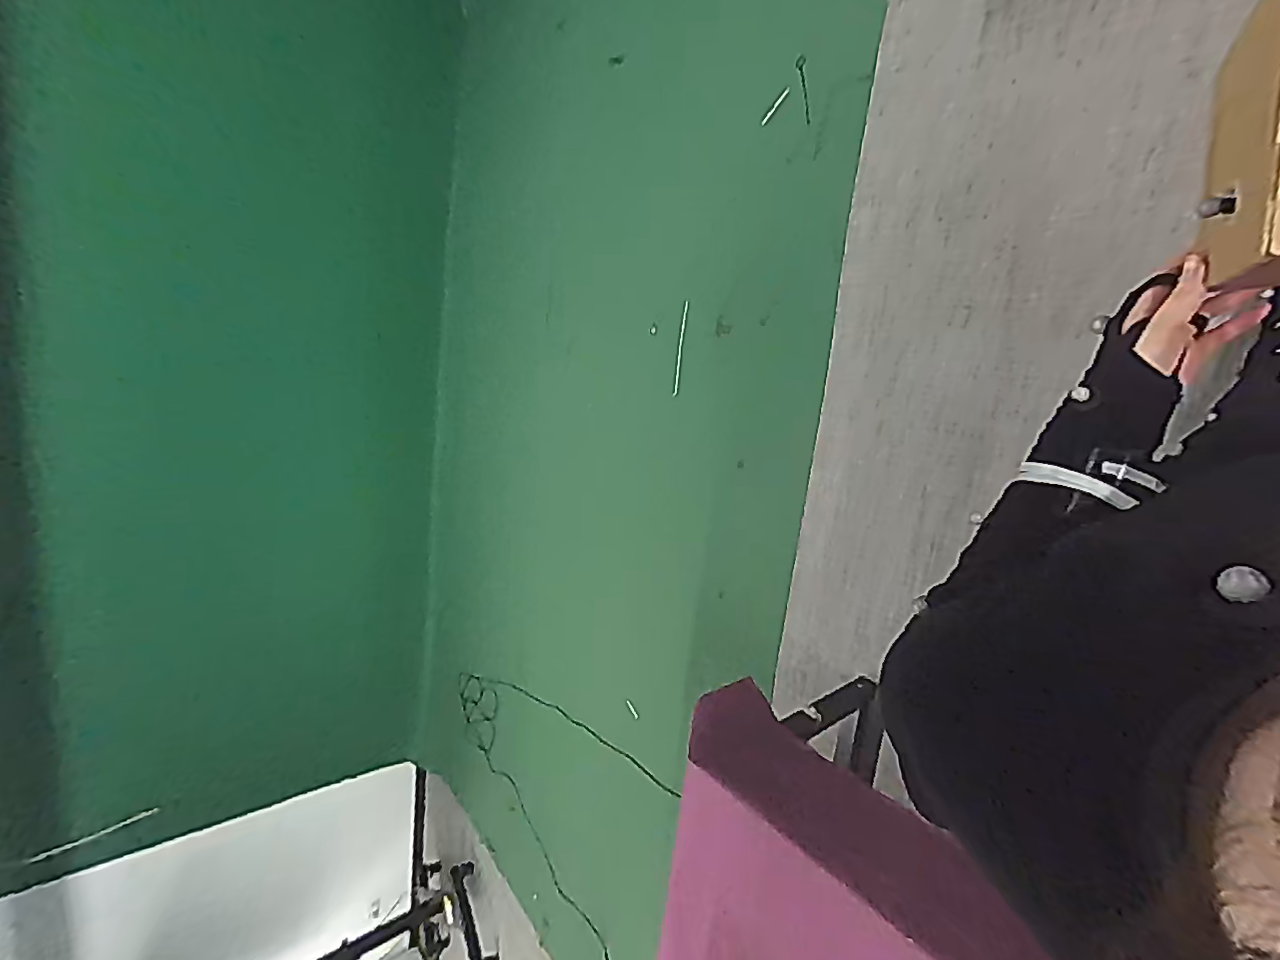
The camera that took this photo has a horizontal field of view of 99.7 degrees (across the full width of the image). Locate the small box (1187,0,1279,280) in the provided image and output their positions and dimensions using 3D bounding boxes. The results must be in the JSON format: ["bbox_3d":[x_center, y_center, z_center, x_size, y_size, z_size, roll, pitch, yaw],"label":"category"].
[{"bbox_3d":[0.462,-0.220,0.313,0.179,0.176,0.168,6,103,34],"label":"small box"}]
